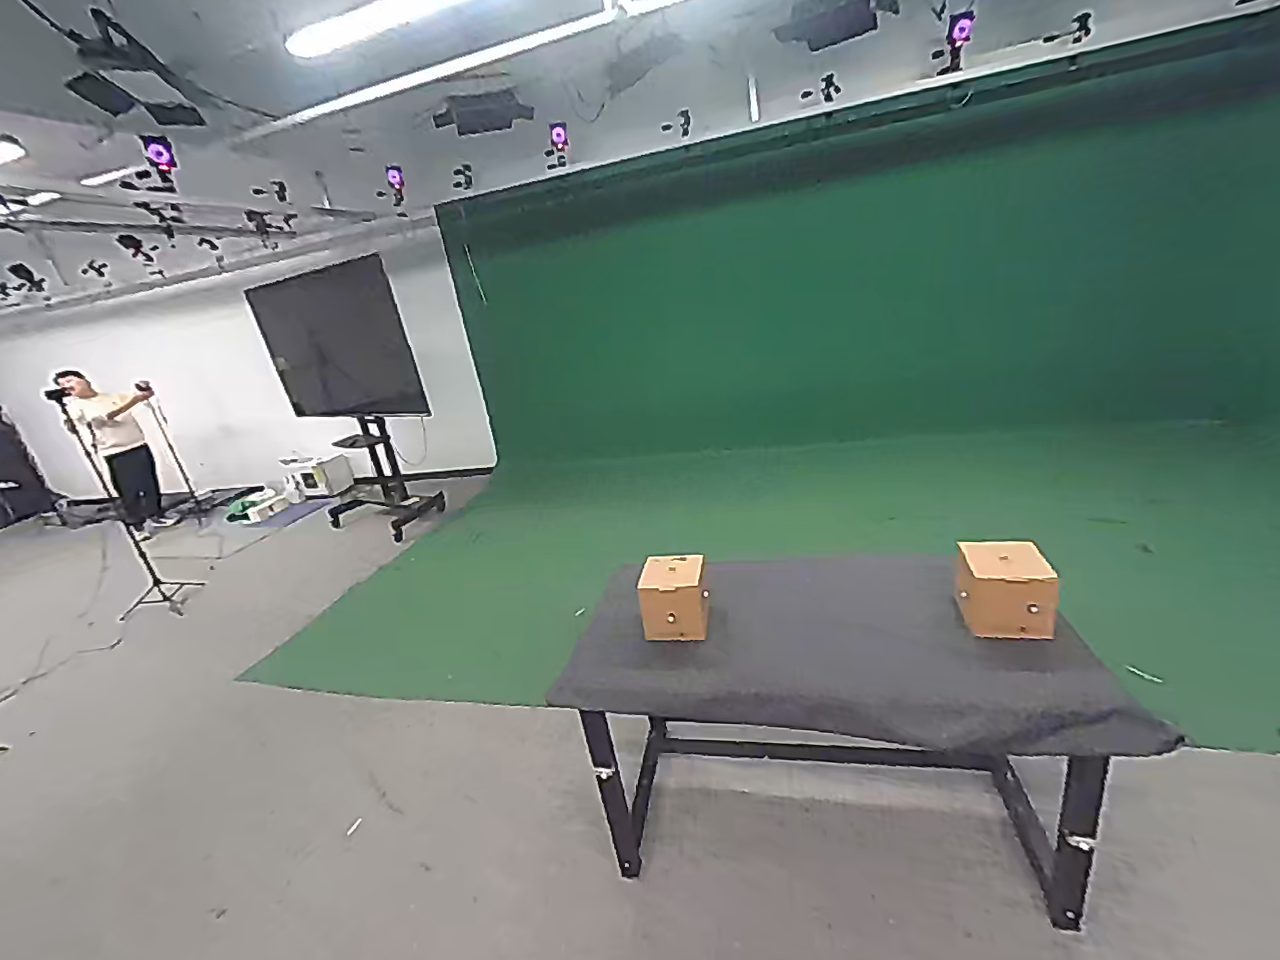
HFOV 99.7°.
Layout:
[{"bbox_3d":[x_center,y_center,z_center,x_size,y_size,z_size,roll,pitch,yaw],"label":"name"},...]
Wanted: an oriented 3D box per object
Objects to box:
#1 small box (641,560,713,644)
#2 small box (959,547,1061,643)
[{"bbox_3d":[0.110,0.343,1.516,0.168,0.176,0.179,-4,20,14],"label":"small box"},{"bbox_3d":[0.890,0.277,1.316,0.168,0.176,0.179,-2,20,18],"label":"small box"}]
